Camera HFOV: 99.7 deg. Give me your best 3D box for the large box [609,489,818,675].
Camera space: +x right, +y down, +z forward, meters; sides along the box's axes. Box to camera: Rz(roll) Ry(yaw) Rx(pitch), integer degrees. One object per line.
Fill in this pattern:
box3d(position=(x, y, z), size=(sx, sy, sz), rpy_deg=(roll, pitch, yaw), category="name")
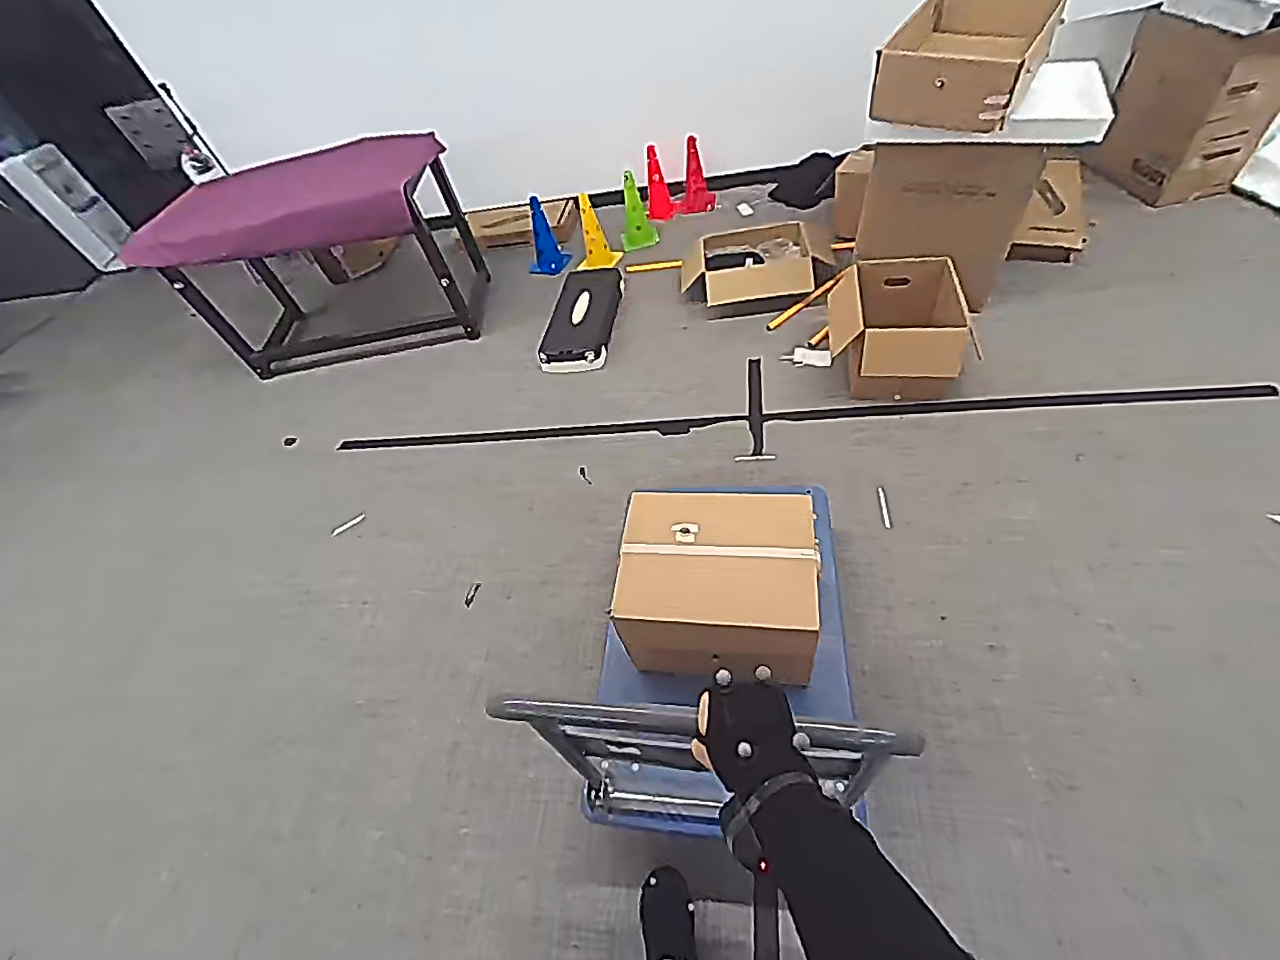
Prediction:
box3d(position=(0.179, 0.236, 1.234), size=(0.408, 0.320, 0.320), rpy_deg=(-1, 51, 14), category="large box")
